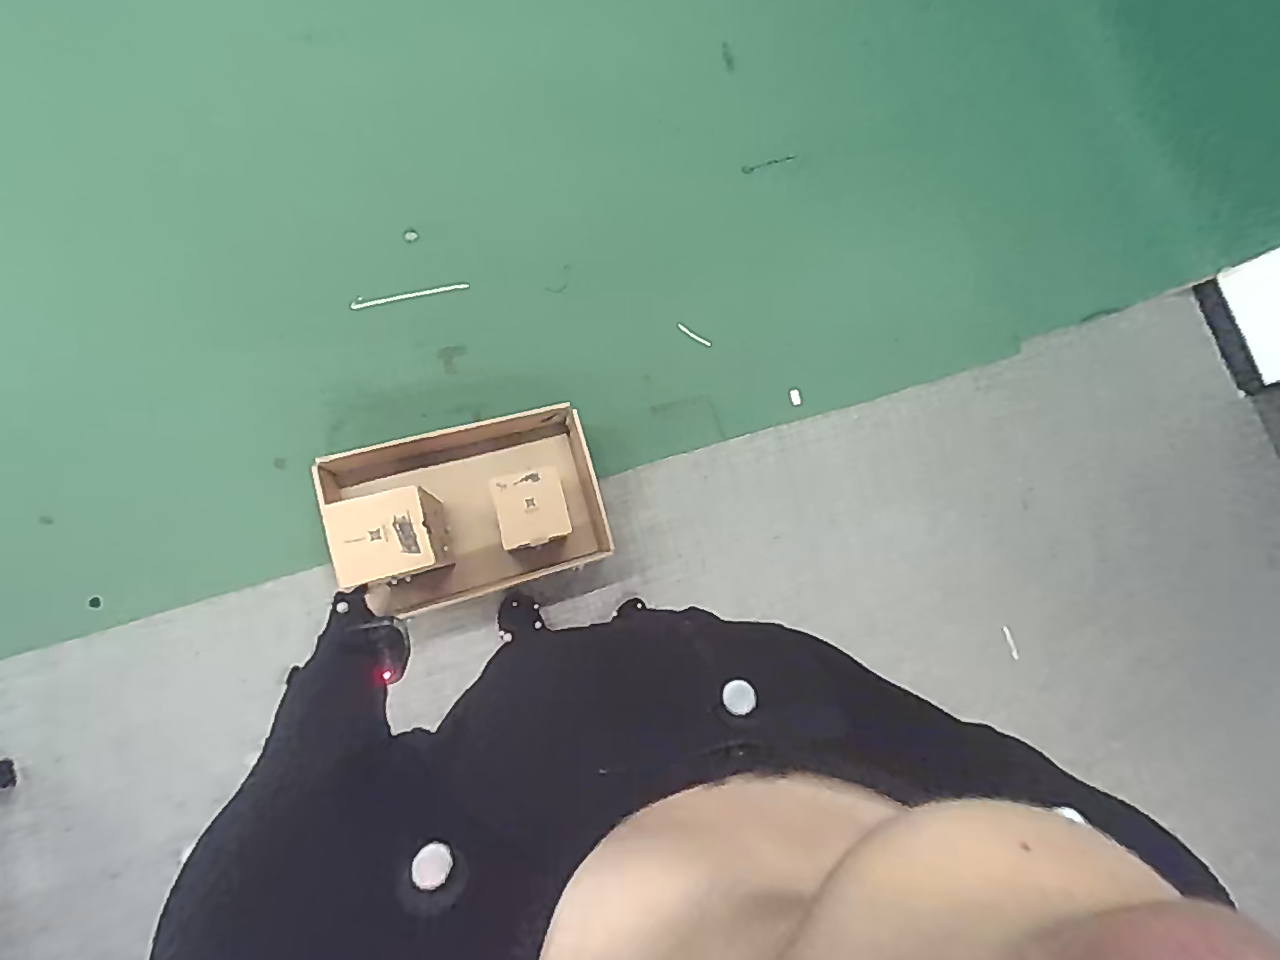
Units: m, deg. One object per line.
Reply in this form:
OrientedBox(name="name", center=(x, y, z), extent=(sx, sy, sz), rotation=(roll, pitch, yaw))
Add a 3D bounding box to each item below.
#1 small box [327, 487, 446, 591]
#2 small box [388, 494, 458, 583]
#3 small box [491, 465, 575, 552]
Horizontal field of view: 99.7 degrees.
OrientedBox(name="small box", center=(-0.504, 0.120, 1.103), extent=(0.179, 0.176, 0.168), rotation=(-14, 84, -14))
OrientedBox(name="small box", center=(-0.540, 0.142, 1.263), extent=(0.179, 0.176, 0.168), rotation=(-15, 85, -15))
OrientedBox(name="small box", center=(-0.262, 0.074, 1.335), extent=(0.168, 0.176, 0.179), rotation=(-13, 85, -13))
